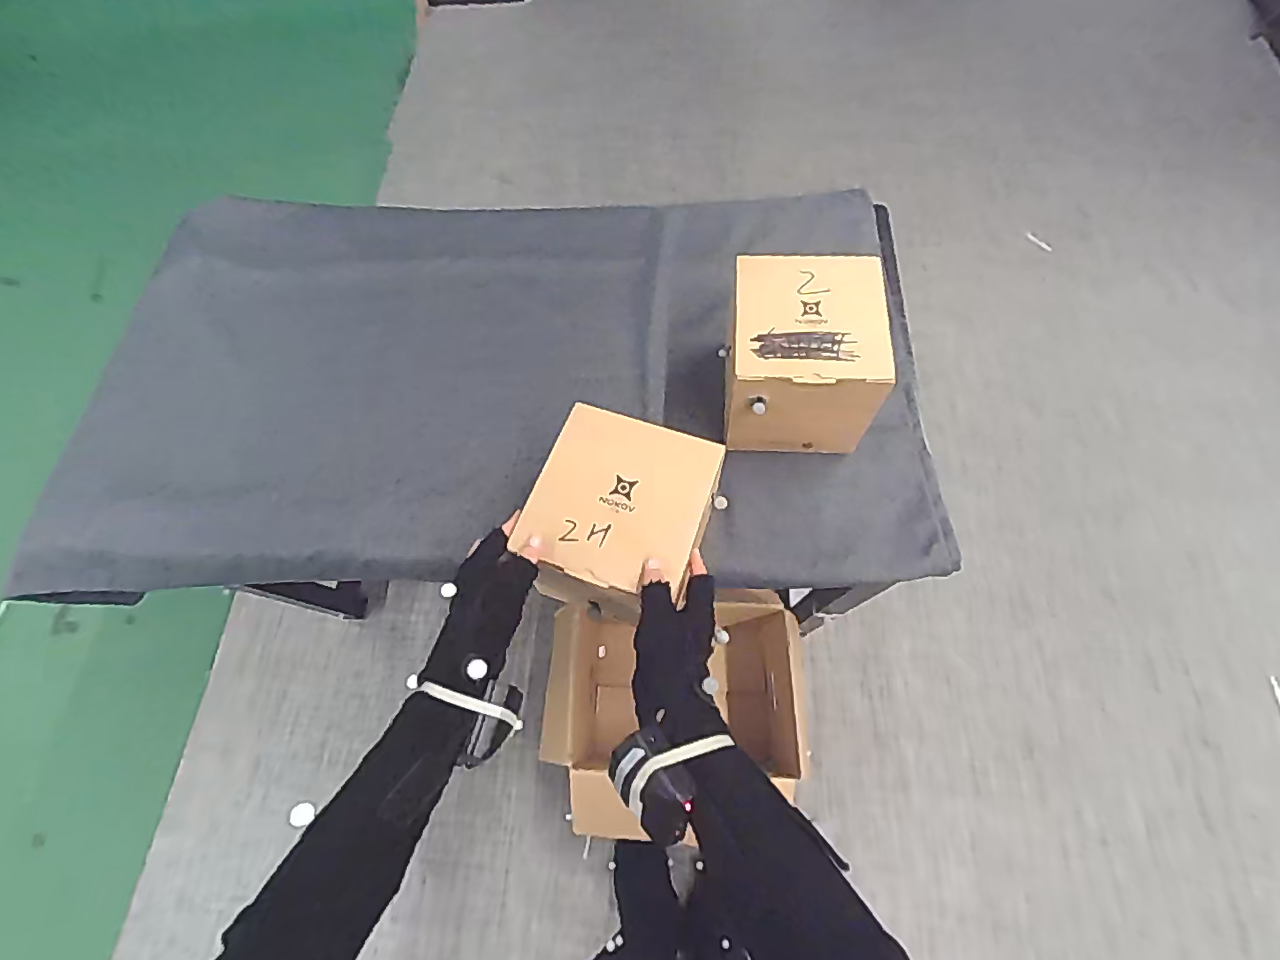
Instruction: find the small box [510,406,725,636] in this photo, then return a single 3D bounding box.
[{"bbox_3d":[-0.016,0.052,0.595,0.168,0.176,0.179,17,67,10],"label":"small box"}]
